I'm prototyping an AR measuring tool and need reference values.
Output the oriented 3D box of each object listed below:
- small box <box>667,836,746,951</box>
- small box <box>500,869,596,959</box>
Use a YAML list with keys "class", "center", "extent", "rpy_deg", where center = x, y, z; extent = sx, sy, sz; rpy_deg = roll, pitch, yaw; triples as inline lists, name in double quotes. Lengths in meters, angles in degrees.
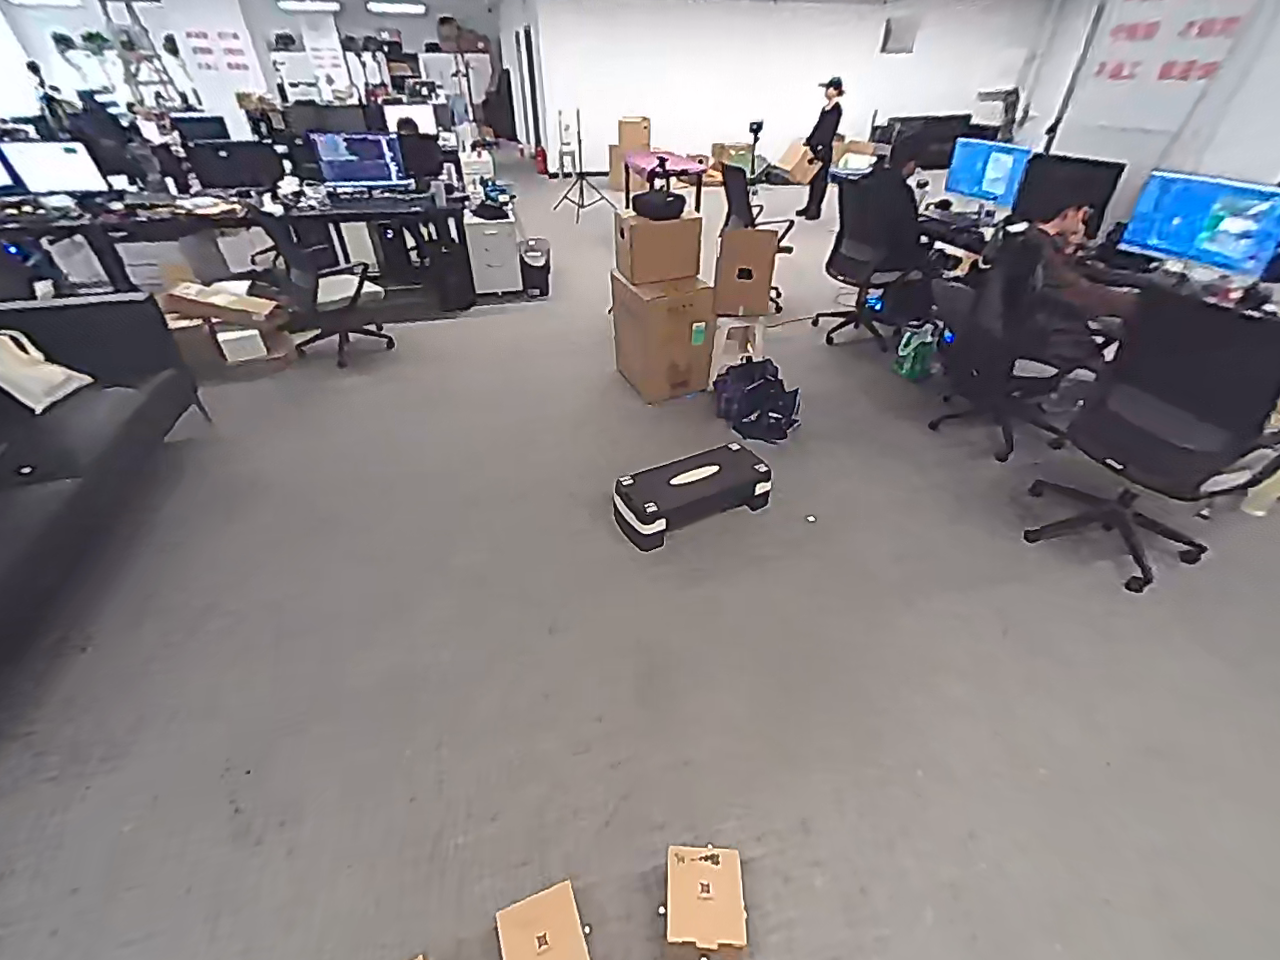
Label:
- class: "small box"
  center: [0.147, 0.942, 1.229]
  extent: [0.168, 0.176, 0.179]
  rpy_deg: [1, 39, 3]
- class: "small box"
  center: [-0.194, 0.997, 1.168]
  extent: [0.168, 0.176, 0.179]
  rpy_deg: [-13, 39, -18]
